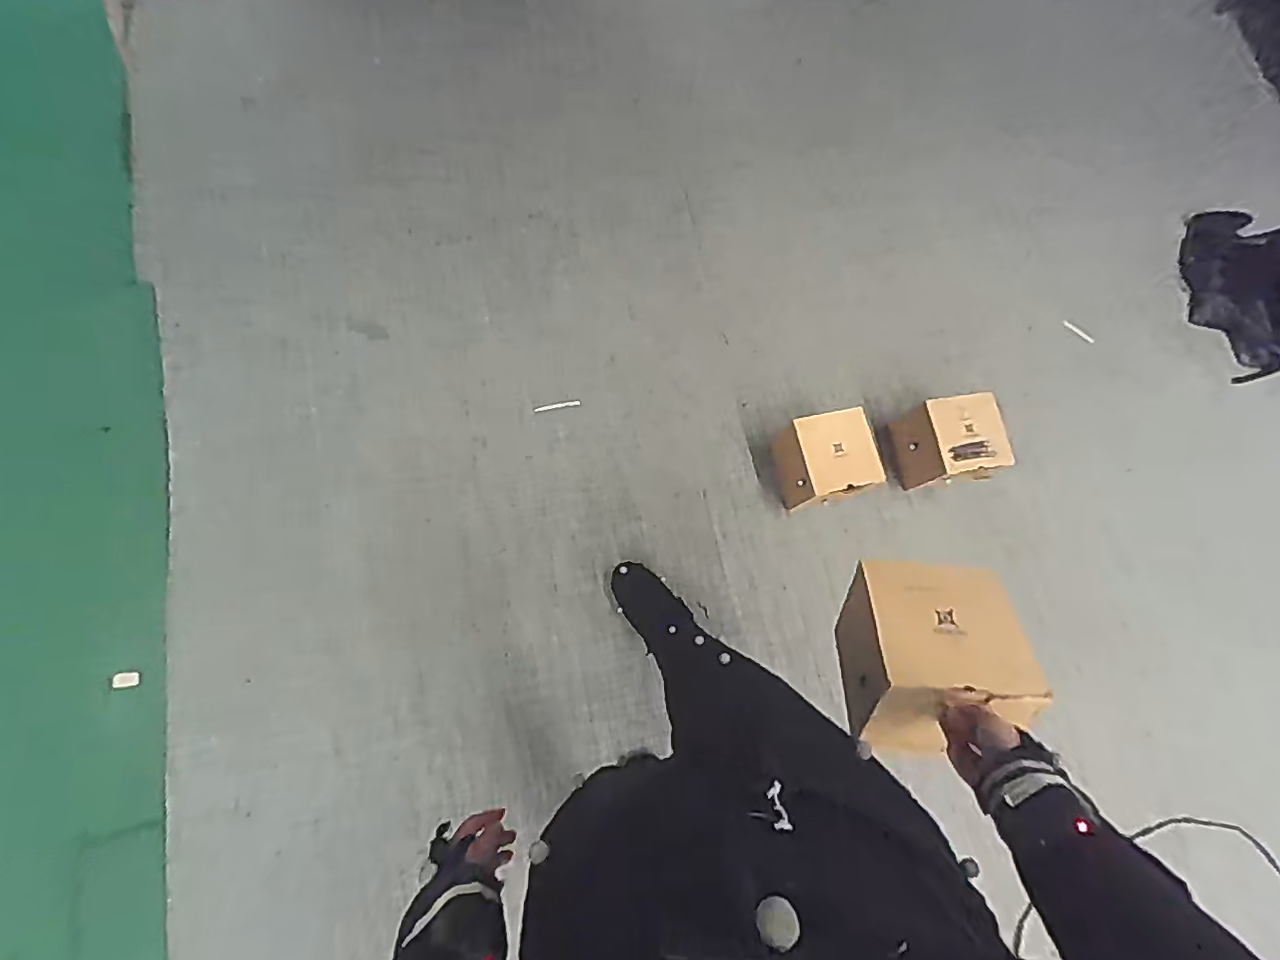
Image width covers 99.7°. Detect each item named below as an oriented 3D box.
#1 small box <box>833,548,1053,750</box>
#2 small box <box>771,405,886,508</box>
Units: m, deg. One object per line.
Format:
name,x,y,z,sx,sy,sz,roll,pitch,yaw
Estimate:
small box,0.347,0.207,0.663,0.168,0.176,0.179,3,42,6
small box,0.414,-0.048,1.222,0.168,0.176,0.179,-11,78,-8
